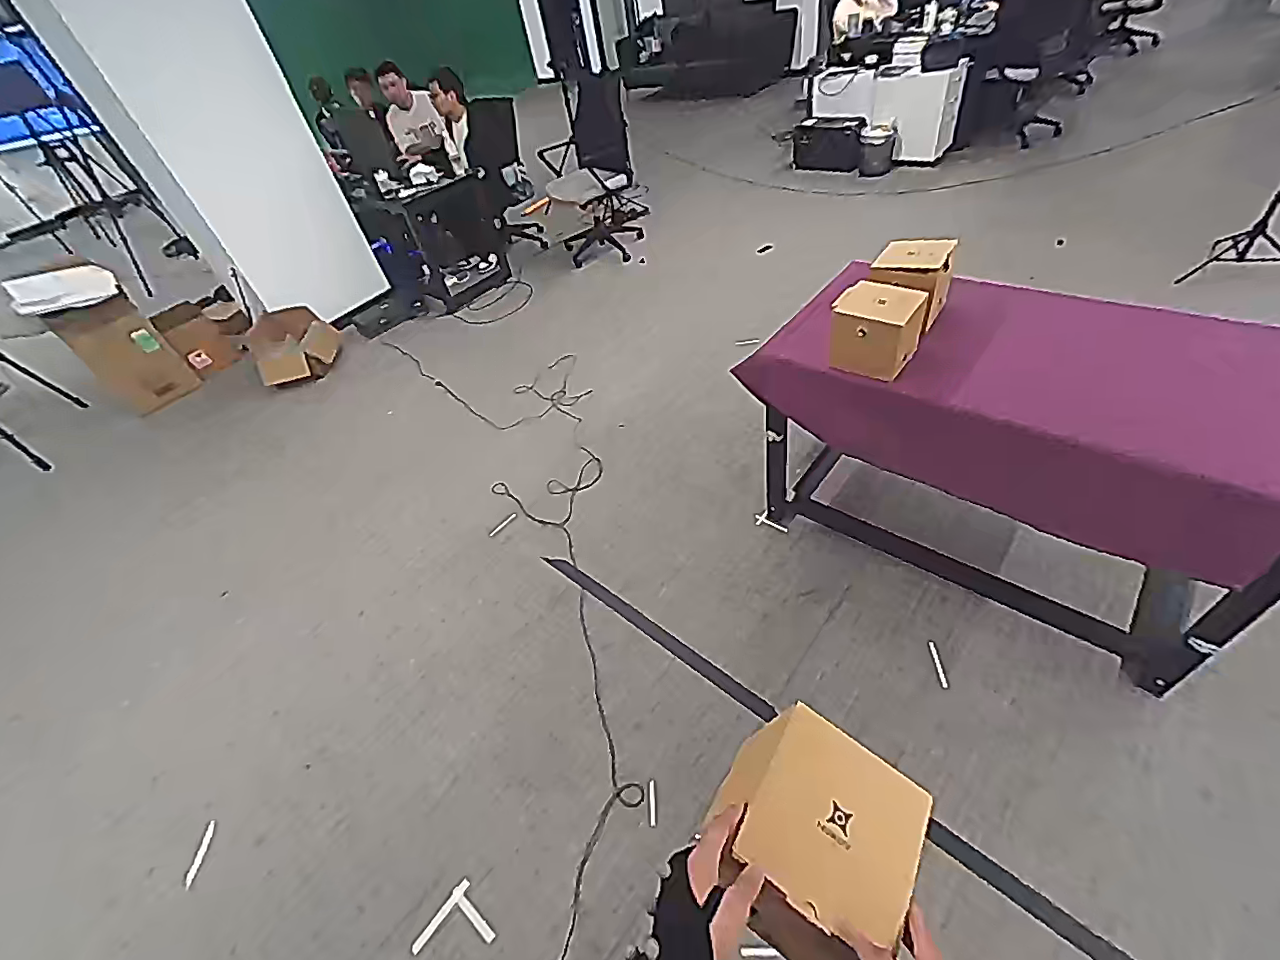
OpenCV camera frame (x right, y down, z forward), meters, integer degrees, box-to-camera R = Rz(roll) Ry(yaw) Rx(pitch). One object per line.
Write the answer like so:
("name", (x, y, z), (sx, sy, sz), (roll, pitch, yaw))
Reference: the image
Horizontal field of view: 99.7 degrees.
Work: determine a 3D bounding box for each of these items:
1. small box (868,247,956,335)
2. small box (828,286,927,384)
("small box", (0.741, -0.524, 1.502), (0.179, 0.176, 0.168), (24, 56, 31))
("small box", (0.598, -0.369, 1.383), (0.179, 0.176, 0.168), (26, 57, 32))
